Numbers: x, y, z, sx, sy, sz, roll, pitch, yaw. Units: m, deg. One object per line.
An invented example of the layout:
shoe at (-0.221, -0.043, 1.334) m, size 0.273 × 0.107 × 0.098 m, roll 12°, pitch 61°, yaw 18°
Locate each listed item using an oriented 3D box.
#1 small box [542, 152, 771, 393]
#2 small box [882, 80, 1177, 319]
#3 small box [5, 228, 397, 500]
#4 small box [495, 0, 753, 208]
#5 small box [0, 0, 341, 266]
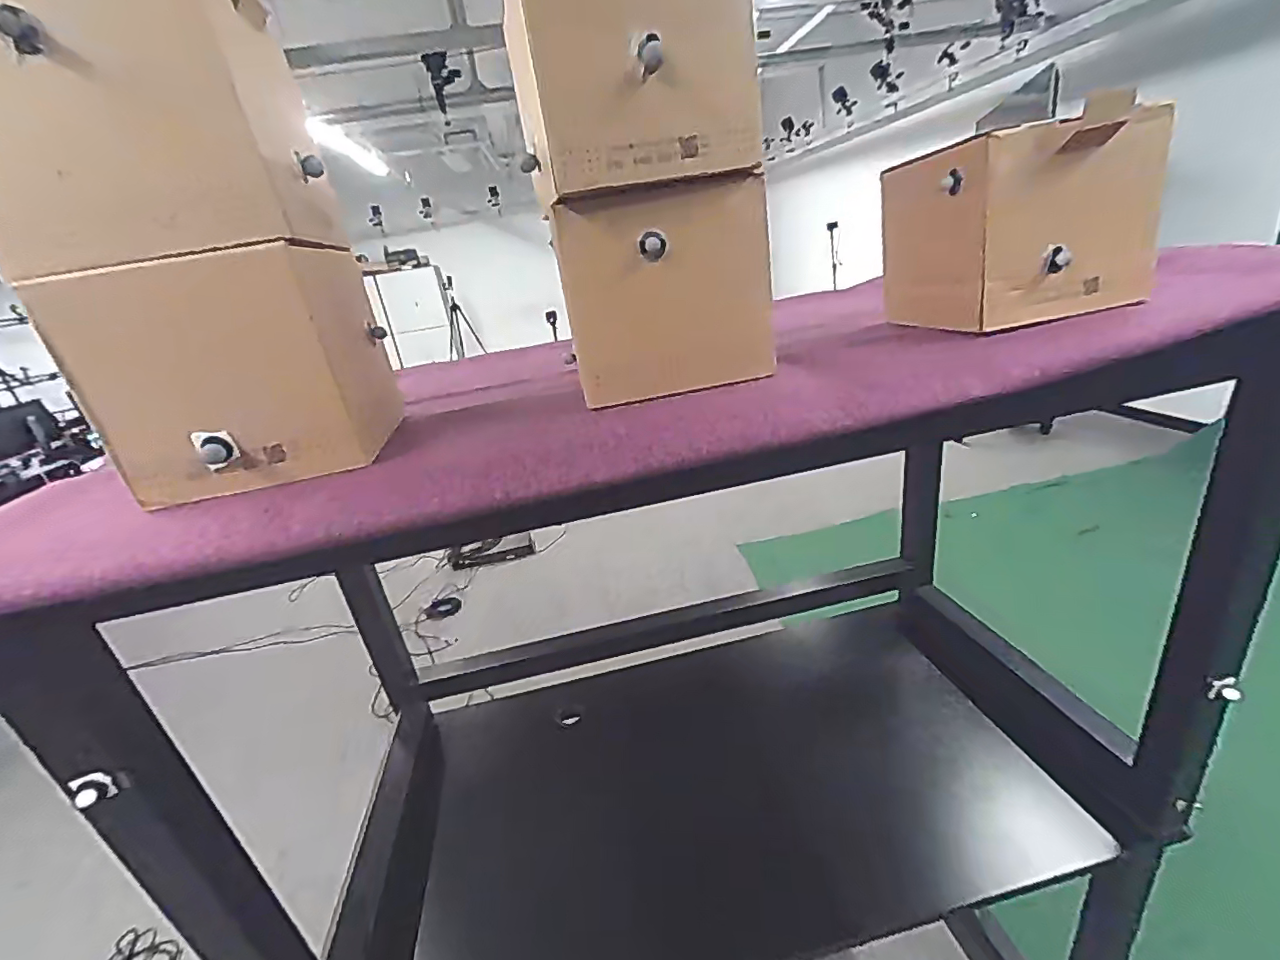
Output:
small box at (0.012, -0.188, 0.517) m, size 0.179 × 0.176 × 0.168 m, roll -11°, pitch 22°, yaw -5°
small box at (0.364, -0.262, 0.543) m, size 0.168 × 0.176 × 0.179 m, roll -12°, pitch 21°, yaw -2°
small box at (-0.322, -0.102, 0.451) m, size 0.168 × 0.176 × 0.179 m, roll -14°, pitch 24°, yaw -8°
small box at (-0.018, -0.334, 0.446) m, size 0.168 × 0.176 × 0.179 m, roll -13°, pitch 22°, yaw -9°
small box at (-0.354, -0.251, 0.388) m, size 0.179 × 0.176 × 0.168 m, roll -14°, pitch 24°, yaw -9°
